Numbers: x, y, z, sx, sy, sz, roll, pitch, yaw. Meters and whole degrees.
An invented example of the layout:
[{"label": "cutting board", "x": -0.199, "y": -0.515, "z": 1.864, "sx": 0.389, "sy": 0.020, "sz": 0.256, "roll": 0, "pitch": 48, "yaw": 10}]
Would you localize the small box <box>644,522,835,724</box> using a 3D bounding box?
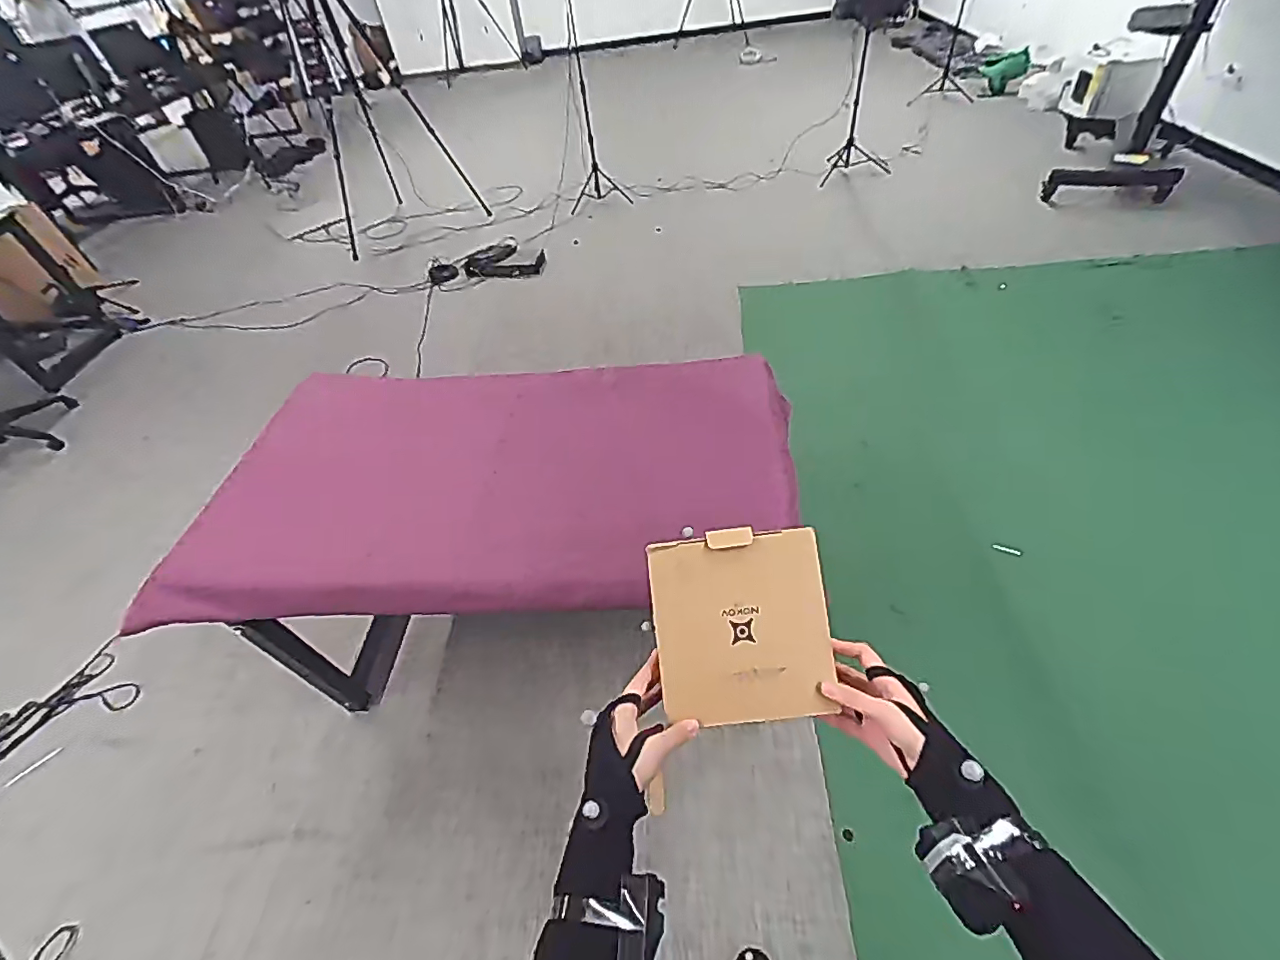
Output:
[{"label": "small box", "x": 0.093, "y": 0.144, "z": 0.588, "sx": 0.168, "sy": 0.176, "sz": 0.179, "roll": -6, "pitch": 83, "yaw": 2}]
